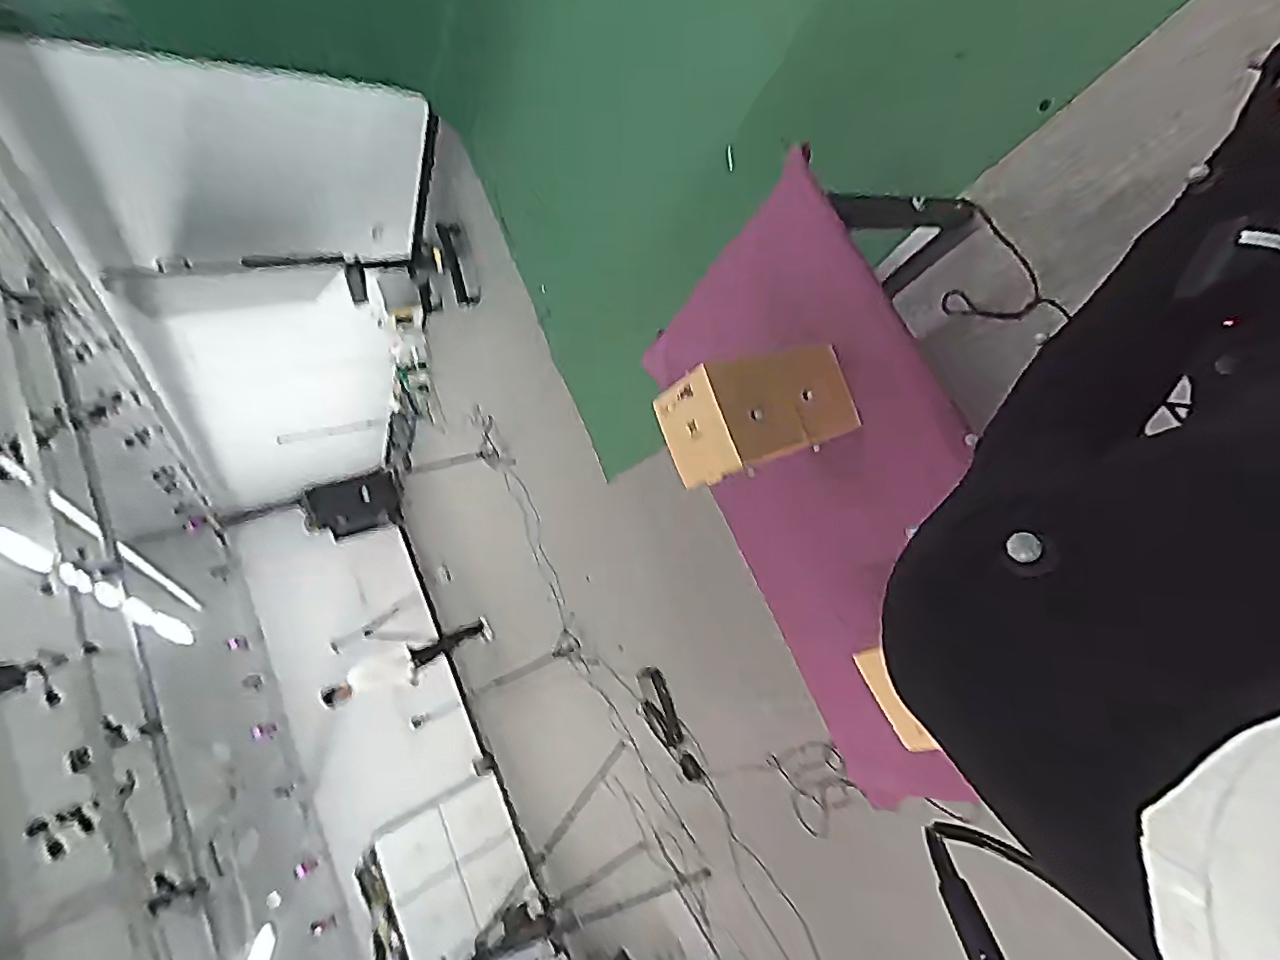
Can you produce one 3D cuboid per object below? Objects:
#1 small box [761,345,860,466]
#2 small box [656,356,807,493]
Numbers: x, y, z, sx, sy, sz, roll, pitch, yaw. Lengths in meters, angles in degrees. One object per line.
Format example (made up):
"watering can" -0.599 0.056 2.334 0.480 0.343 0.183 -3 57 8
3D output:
"small box" 0.294 -0.143 1.053 0.168 0.176 0.179 -23 87 57
"small box" 0.164 -0.099 0.964 0.168 0.176 0.179 -28 83 56
